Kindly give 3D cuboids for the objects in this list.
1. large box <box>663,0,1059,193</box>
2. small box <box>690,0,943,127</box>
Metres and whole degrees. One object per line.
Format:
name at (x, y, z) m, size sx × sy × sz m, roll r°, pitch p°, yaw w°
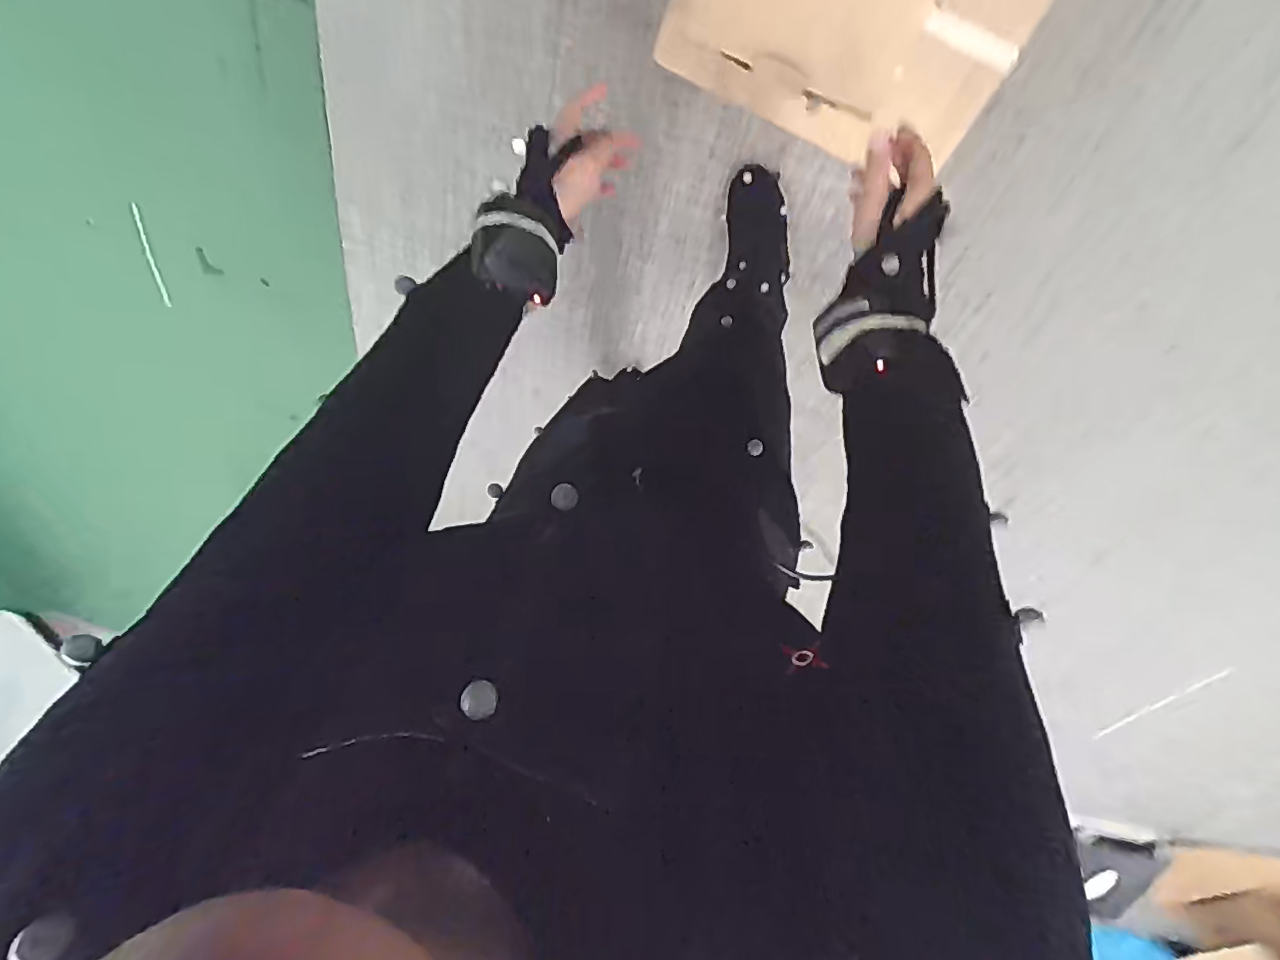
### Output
large box at (0.293, -0.657, 0.731) m, size 0.408 × 0.320 × 0.320 m, roll 25°, pitch 132°, yaw -3°
small box at (0.159, -0.419, 0.432) m, size 0.168 × 0.176 × 0.179 m, roll 23°, pitch 130°, yaw -1°
